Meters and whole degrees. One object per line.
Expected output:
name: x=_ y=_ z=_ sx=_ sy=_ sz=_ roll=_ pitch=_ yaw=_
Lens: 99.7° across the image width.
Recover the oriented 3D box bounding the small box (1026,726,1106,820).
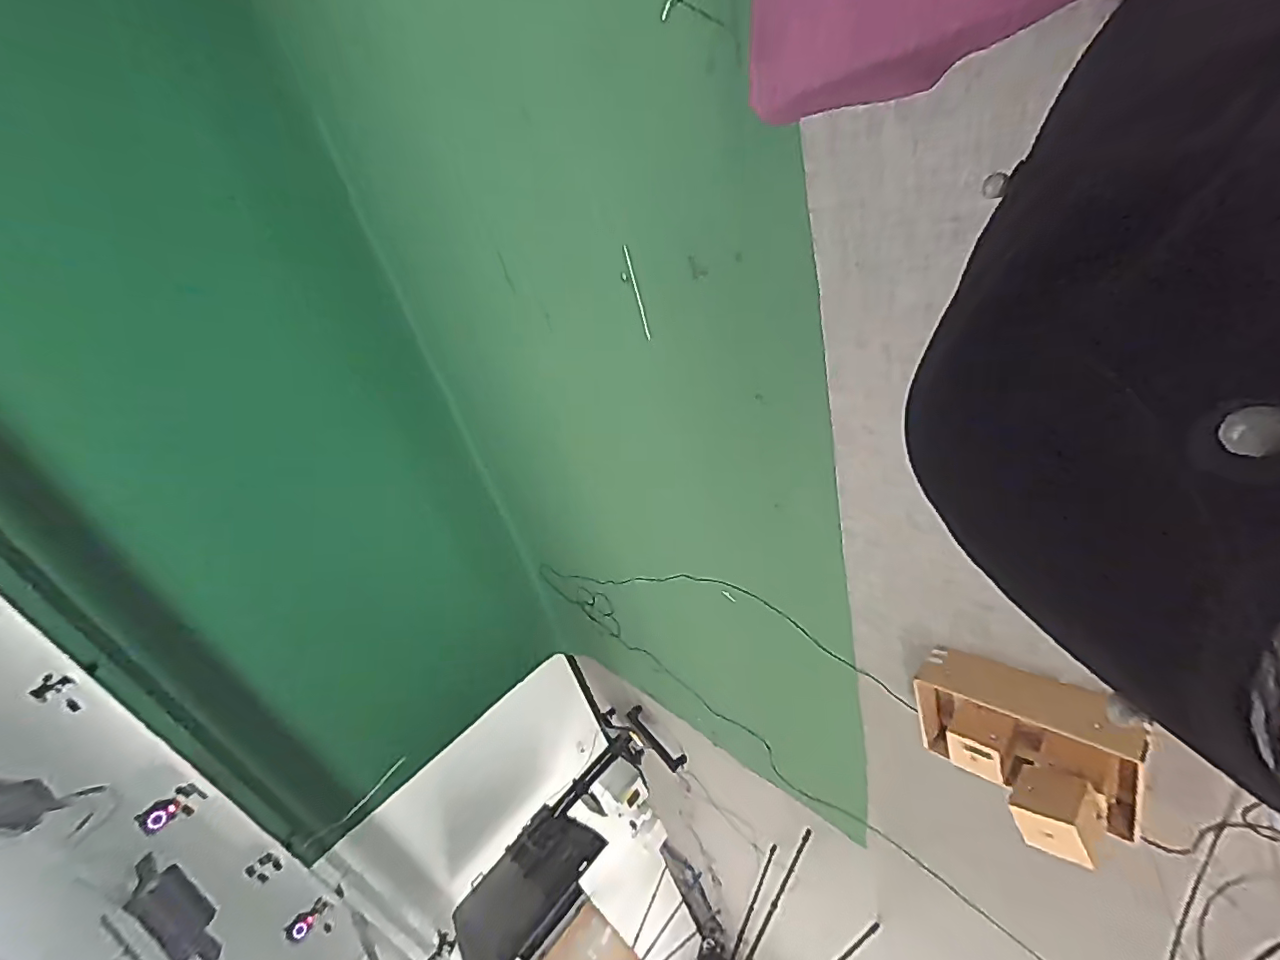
small box: x=1.371 y=0.935 z=1.741 sx=0.179 sy=0.176 sz=0.168 roll=11 pitch=127 yaw=49

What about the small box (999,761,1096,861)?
small box: x=1.248 y=0.999 z=1.655 sx=0.179 sy=0.176 sz=0.168 roll=-13 pitch=108 yaw=56
